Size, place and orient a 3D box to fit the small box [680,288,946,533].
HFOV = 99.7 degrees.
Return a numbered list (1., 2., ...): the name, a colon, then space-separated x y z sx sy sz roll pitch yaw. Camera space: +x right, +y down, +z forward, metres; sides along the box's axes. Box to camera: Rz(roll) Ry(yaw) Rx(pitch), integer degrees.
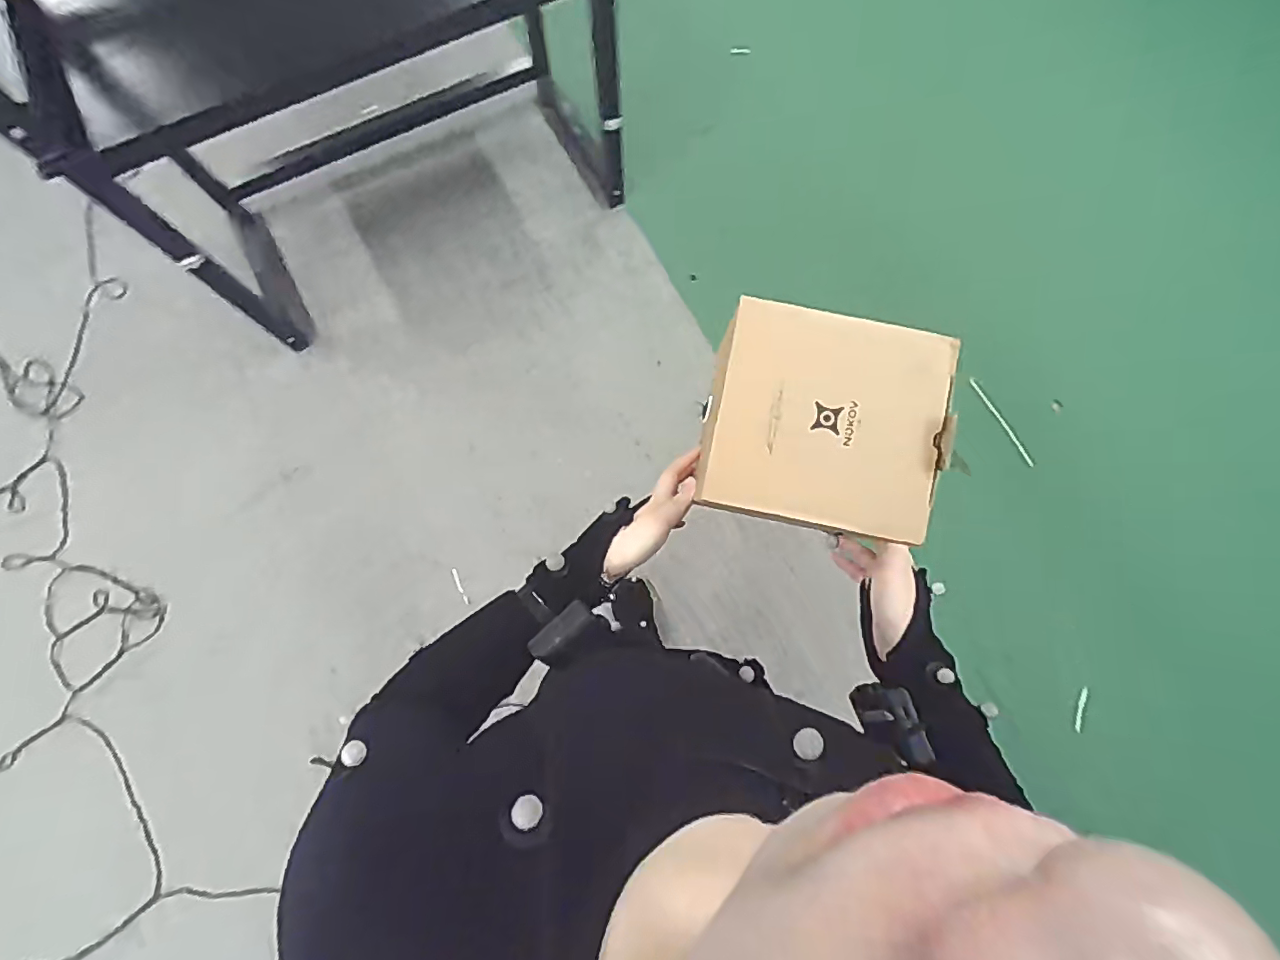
1. small box: 0.140 -0.051 0.497 0.179 0.176 0.168 11 86 2
